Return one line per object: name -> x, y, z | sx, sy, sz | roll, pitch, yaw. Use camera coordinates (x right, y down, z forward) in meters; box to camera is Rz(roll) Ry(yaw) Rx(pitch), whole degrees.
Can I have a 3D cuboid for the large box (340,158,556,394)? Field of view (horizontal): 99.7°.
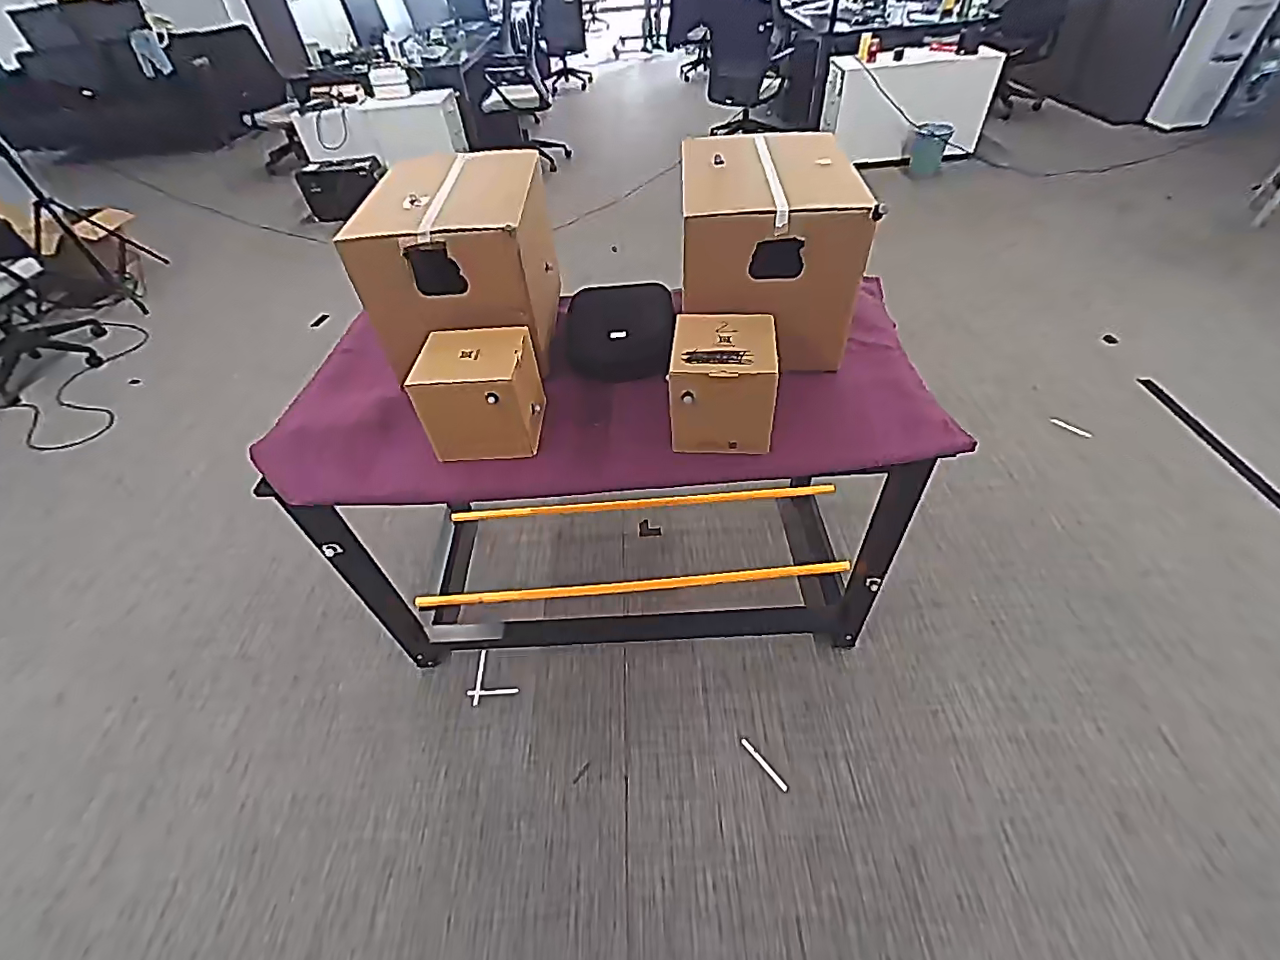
large box -> -0.358, -0.436, 1.145 | 0.320, 0.320, 0.408 | -5, 48, 1
